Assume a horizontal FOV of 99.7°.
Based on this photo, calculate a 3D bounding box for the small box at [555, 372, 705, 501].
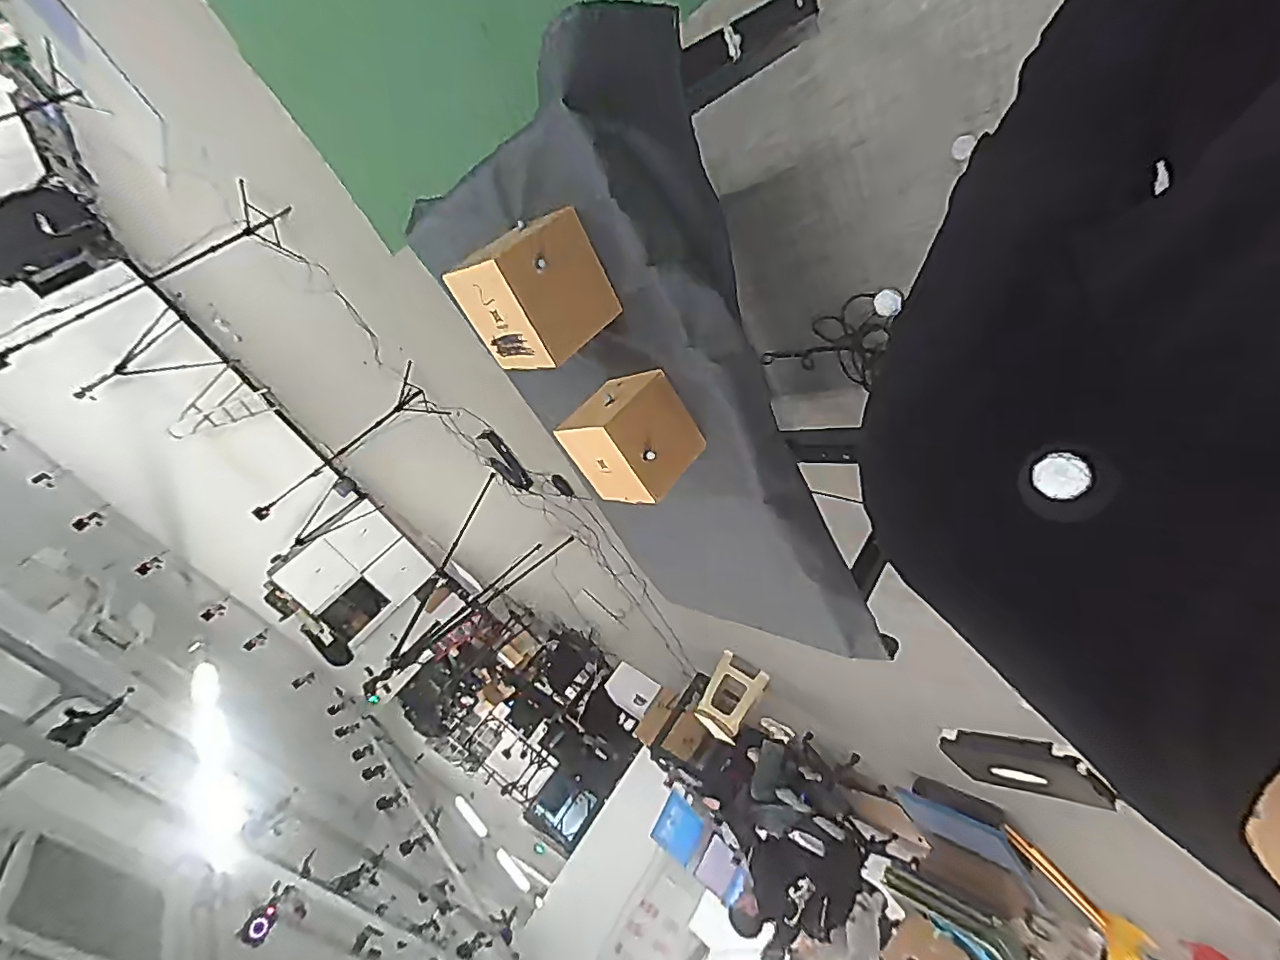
[{"bbox_3d":[-0.014,-0.084,0.993,0.168,0.176,0.179,1,134,51],"label":"small box"}]
